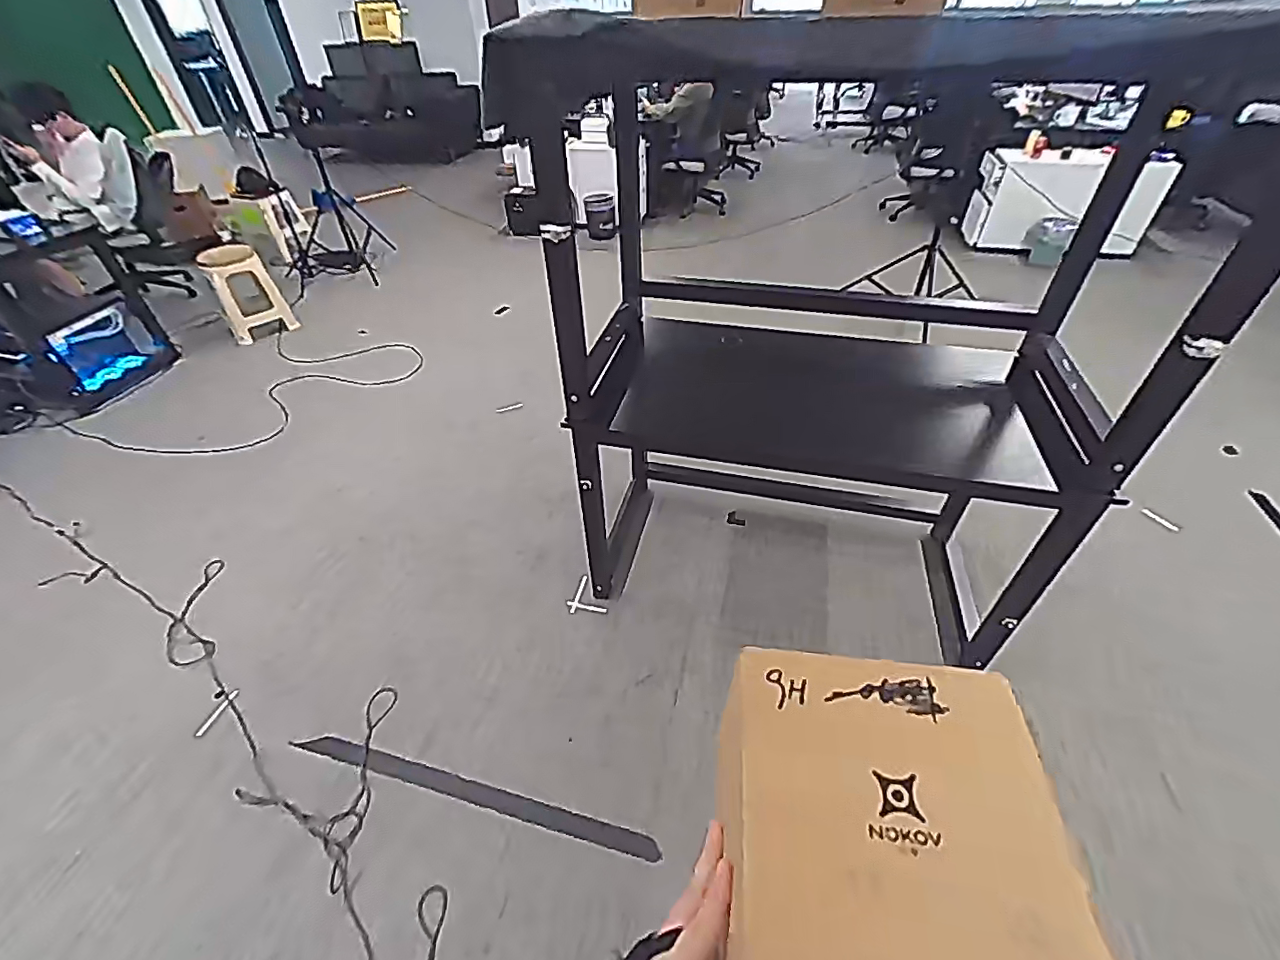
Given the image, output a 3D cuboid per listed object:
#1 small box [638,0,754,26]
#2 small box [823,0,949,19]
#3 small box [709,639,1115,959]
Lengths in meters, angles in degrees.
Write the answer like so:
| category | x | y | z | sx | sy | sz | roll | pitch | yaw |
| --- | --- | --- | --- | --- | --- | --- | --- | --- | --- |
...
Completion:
| category | x | y | z | sx | sy | sz | roll | pitch | yaw |
| --- | --- | --- | --- | --- | --- | --- | --- | --- | --- |
| small box | 0.092 | -0.797 | 0.810 | 0.168 | 0.176 | 0.179 | 9 | 42 | 10 |
| small box | 0.356 | -0.756 | 0.753 | 0.168 | 0.176 | 0.179 | 9 | 41 | 12 |
| small box | 0.135 | 0.225 | 0.336 | 0.168 | 0.176 | 0.179 | 5 | 47 | 4 |
